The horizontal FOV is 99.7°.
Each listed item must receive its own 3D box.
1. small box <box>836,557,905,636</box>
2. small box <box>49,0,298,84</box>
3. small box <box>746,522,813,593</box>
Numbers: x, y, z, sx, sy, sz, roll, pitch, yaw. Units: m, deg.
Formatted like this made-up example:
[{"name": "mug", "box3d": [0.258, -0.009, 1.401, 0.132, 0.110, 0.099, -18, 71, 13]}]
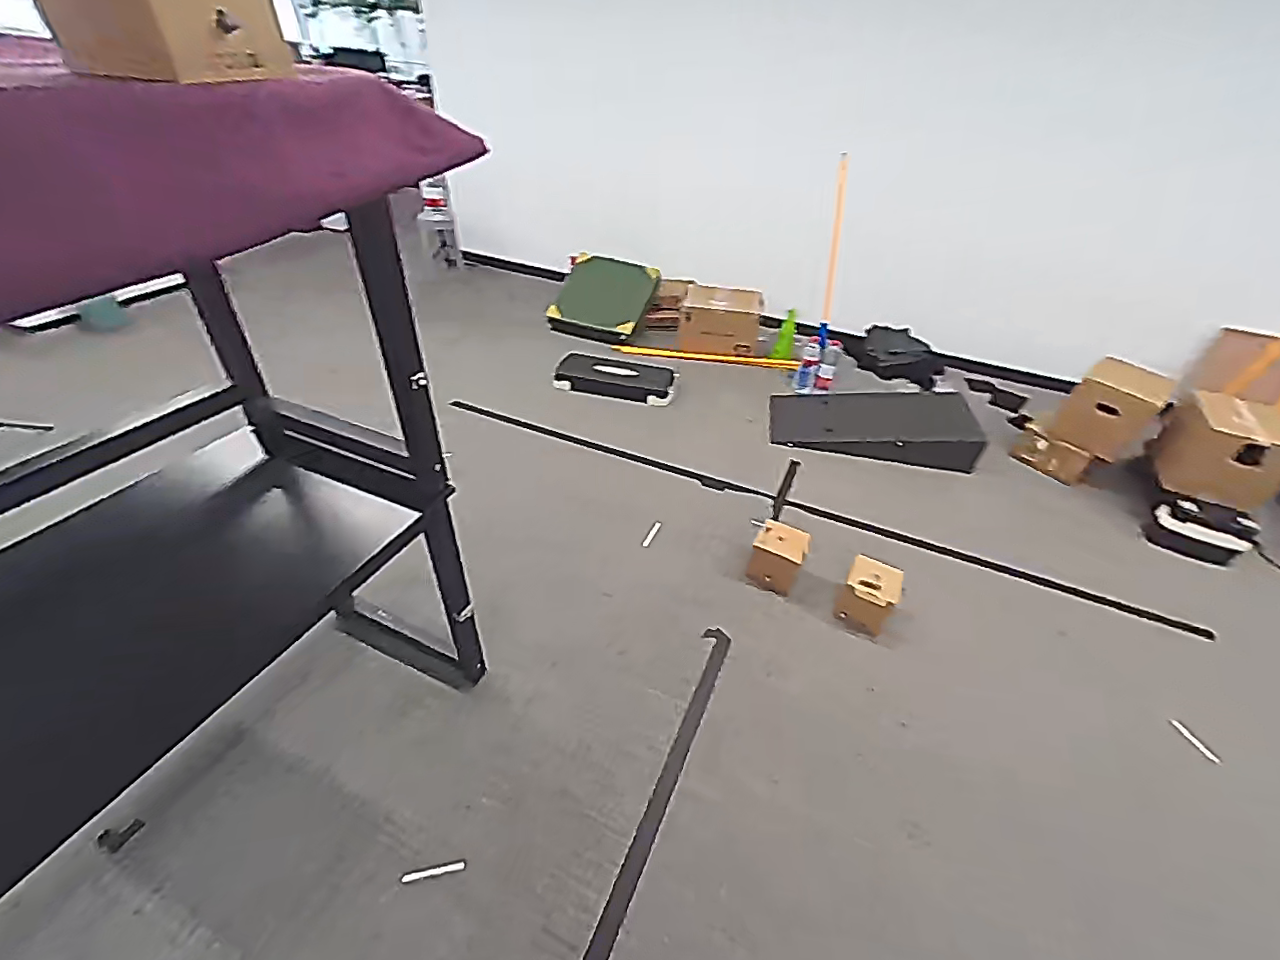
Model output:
[{"name": "small box", "box3d": [0.802, 0.411, 1.890, 0.168, 0.176, 0.179, 23, 41, 21]}, {"name": "small box", "box3d": [-0.542, -0.561, 0.615, 0.179, 0.176, 0.168, 14, 40, 13]}, {"name": "small box", "box3d": [0.513, 0.293, 2.005, 0.179, 0.176, 0.168, 23, 42, 20]}]
